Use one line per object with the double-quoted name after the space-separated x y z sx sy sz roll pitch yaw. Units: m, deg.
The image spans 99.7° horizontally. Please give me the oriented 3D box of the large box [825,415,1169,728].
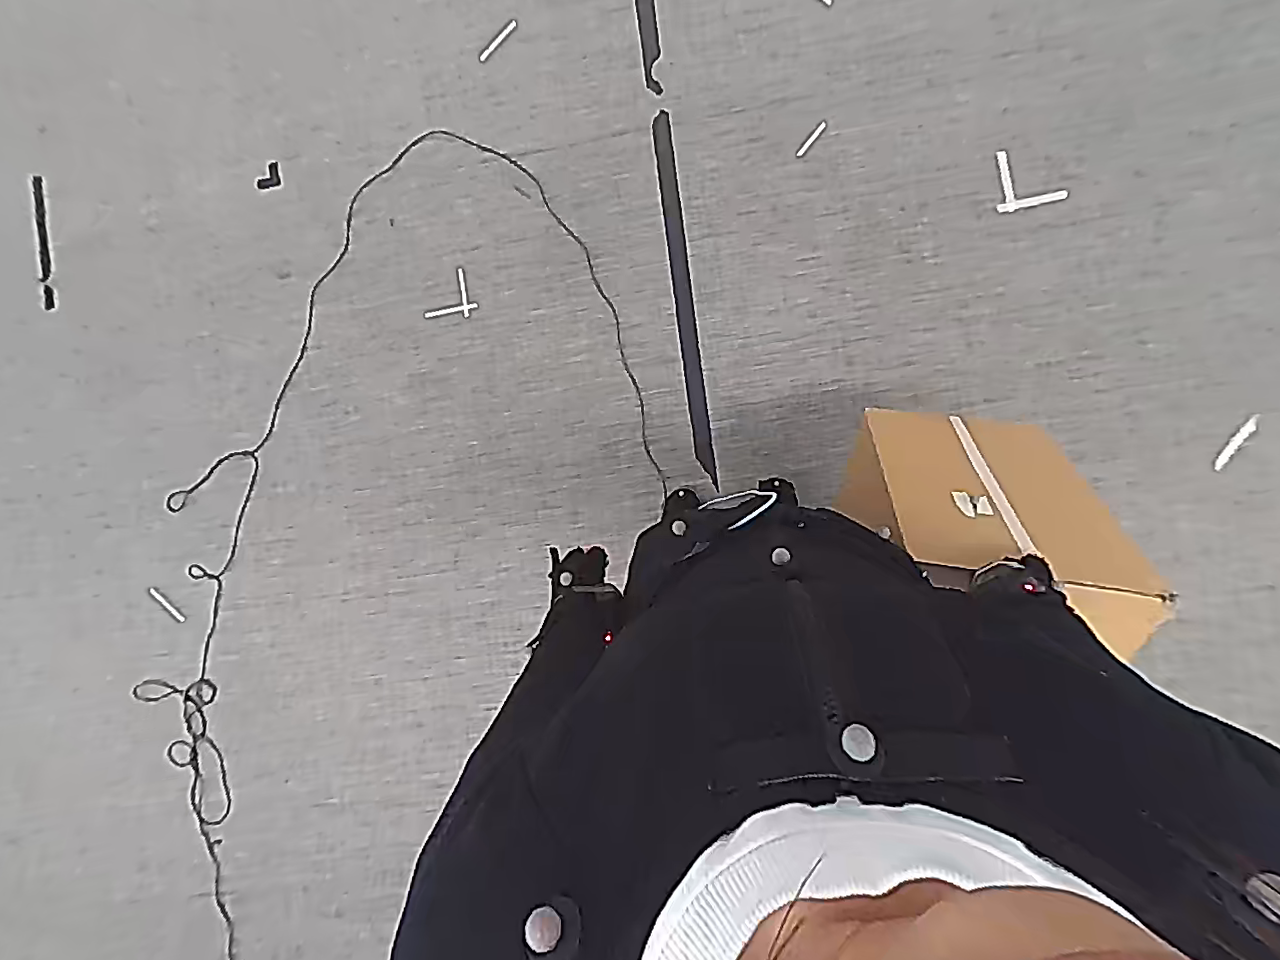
0.524 0.134 0.921 0.320 0.408 0.320 6 128 7 "large box"
